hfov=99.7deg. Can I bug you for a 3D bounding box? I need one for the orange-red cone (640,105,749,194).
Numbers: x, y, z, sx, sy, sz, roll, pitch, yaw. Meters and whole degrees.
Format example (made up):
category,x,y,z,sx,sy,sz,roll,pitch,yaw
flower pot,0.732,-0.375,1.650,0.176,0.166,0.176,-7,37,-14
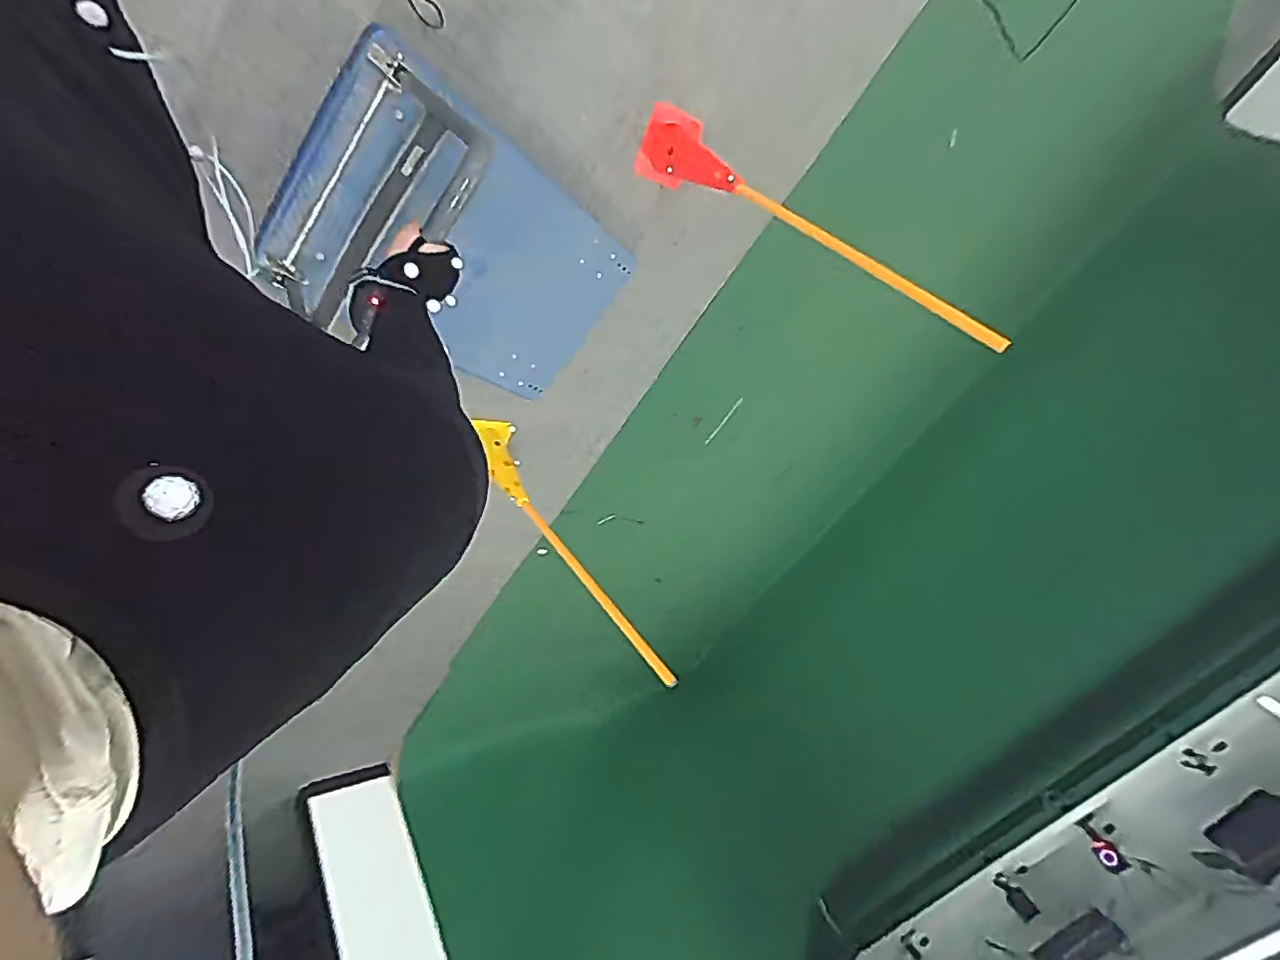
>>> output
category,x,y,z,sx,sy,sz,roll,pitch,yaw
orange-red cone,0.193,-0.925,1.593,0.198,0.360,0.199,-4,131,-42
